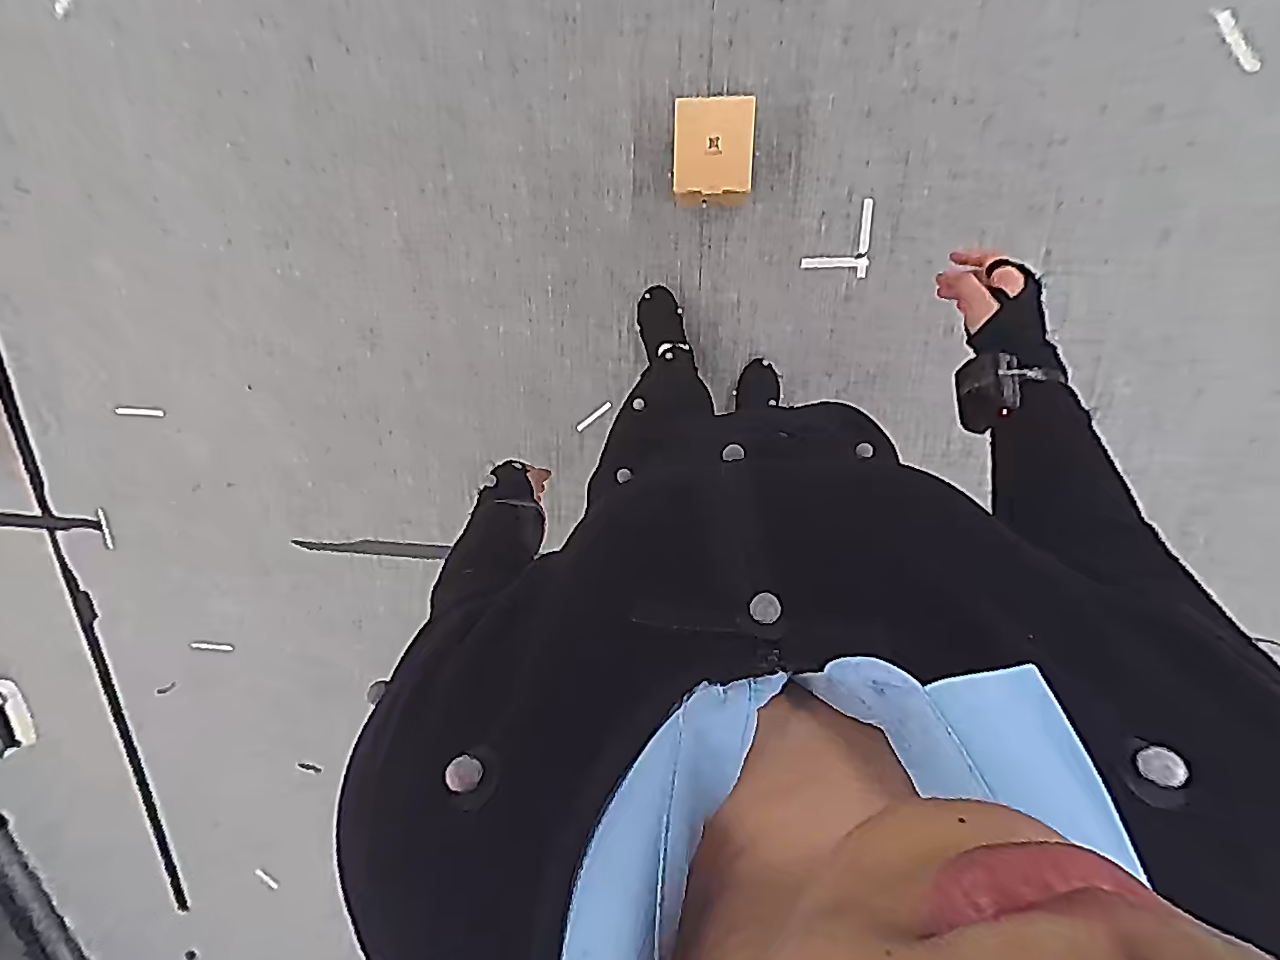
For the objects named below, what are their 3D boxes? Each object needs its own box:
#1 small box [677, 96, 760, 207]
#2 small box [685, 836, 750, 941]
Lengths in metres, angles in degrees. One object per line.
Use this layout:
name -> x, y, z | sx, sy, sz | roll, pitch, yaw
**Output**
small box -> 0.167, -0.718, 1.196 | 0.168, 0.176, 0.179 | 1, 108, 5
small box -> 0.222, 1.195, 1.586 | 0.168, 0.176, 0.179 | 5, 107, 3
